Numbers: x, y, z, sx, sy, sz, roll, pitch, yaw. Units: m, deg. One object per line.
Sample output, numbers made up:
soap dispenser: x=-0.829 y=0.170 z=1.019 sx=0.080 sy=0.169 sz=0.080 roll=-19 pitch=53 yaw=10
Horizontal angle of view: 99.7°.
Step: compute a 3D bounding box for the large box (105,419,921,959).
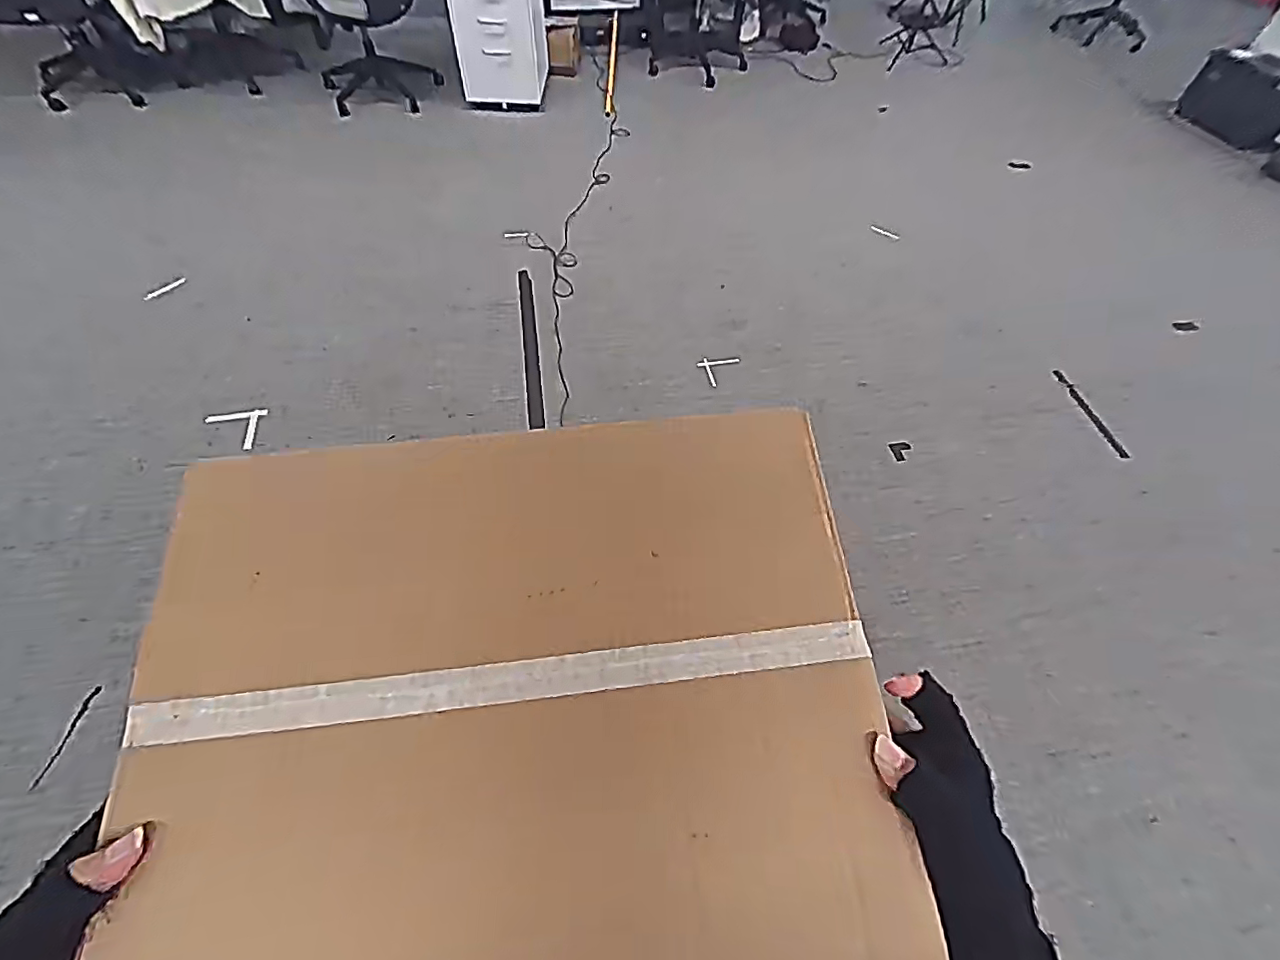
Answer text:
large box: x=-0.073 y=0.173 z=0.448 sx=0.408 sy=0.320 sz=0.320 roll=-6 pitch=67 yaw=-3
